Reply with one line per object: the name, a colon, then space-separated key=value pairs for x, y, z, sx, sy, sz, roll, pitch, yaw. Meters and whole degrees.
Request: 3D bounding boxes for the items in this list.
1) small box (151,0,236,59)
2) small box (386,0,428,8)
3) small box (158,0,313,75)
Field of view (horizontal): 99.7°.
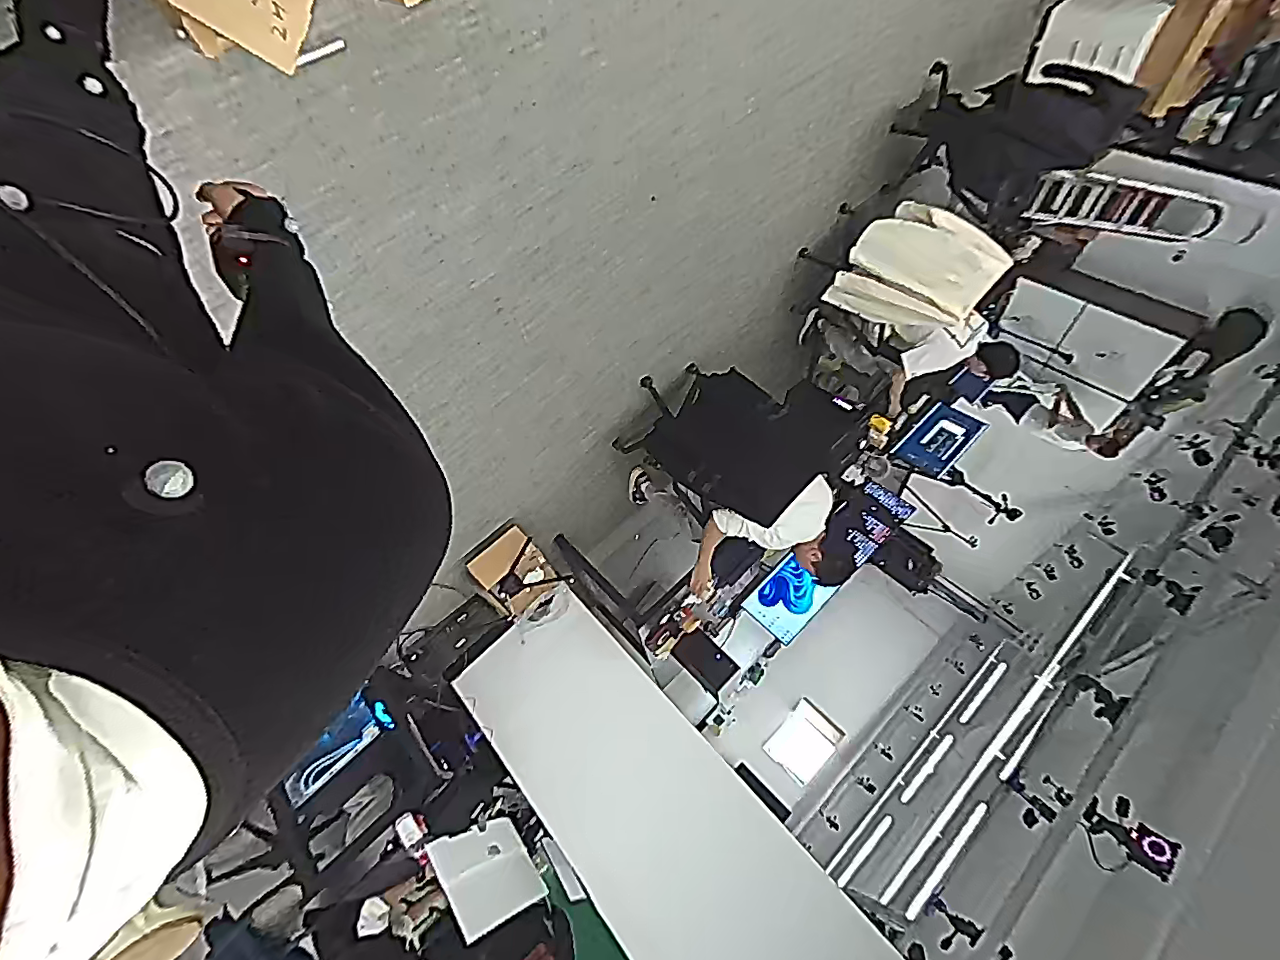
small box: x=-0.794 y=-0.901 z=0.968 sx=0.168 sy=0.176 sz=0.179 roll=-42 pitch=150 yaw=-15
small box: x=-0.441 y=-1.011 z=0.990 sx=0.168 sy=0.176 sz=0.179 roll=-40 pitch=149 yaw=-19
small box: x=-0.675 y=-0.820 z=0.890 sx=0.179 sy=0.176 sz=0.168 roll=3 pitch=122 yaw=-57
